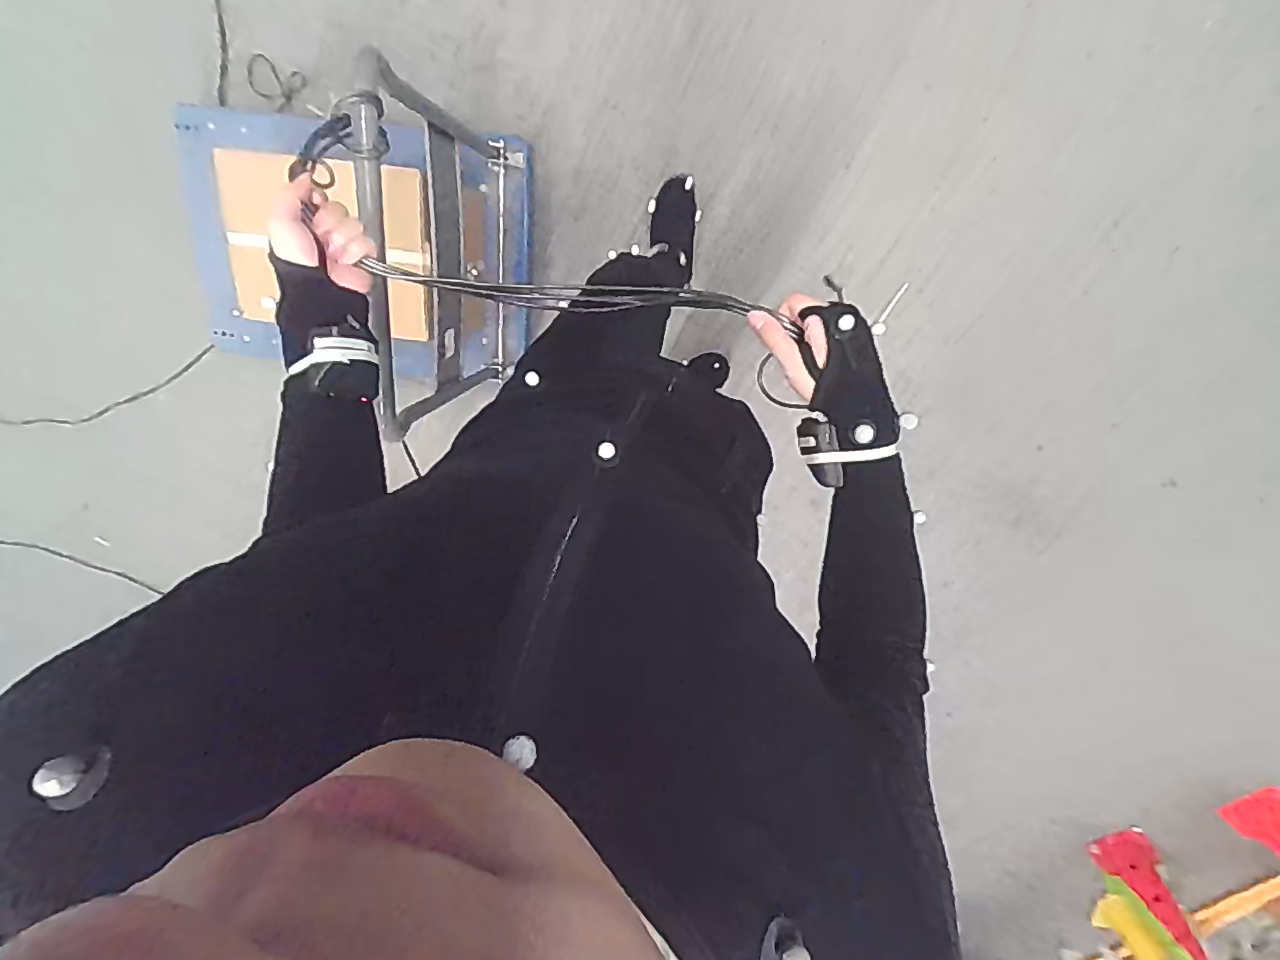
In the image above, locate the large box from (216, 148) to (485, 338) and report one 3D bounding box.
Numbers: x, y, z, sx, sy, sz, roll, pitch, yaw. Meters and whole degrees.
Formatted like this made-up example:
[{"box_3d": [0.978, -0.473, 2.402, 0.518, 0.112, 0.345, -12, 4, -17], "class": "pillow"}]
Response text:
[{"box_3d": [-0.589, -0.506, 1.181, 0.408, 0.320, 0.320, 8, 111, 4], "class": "large box"}]
